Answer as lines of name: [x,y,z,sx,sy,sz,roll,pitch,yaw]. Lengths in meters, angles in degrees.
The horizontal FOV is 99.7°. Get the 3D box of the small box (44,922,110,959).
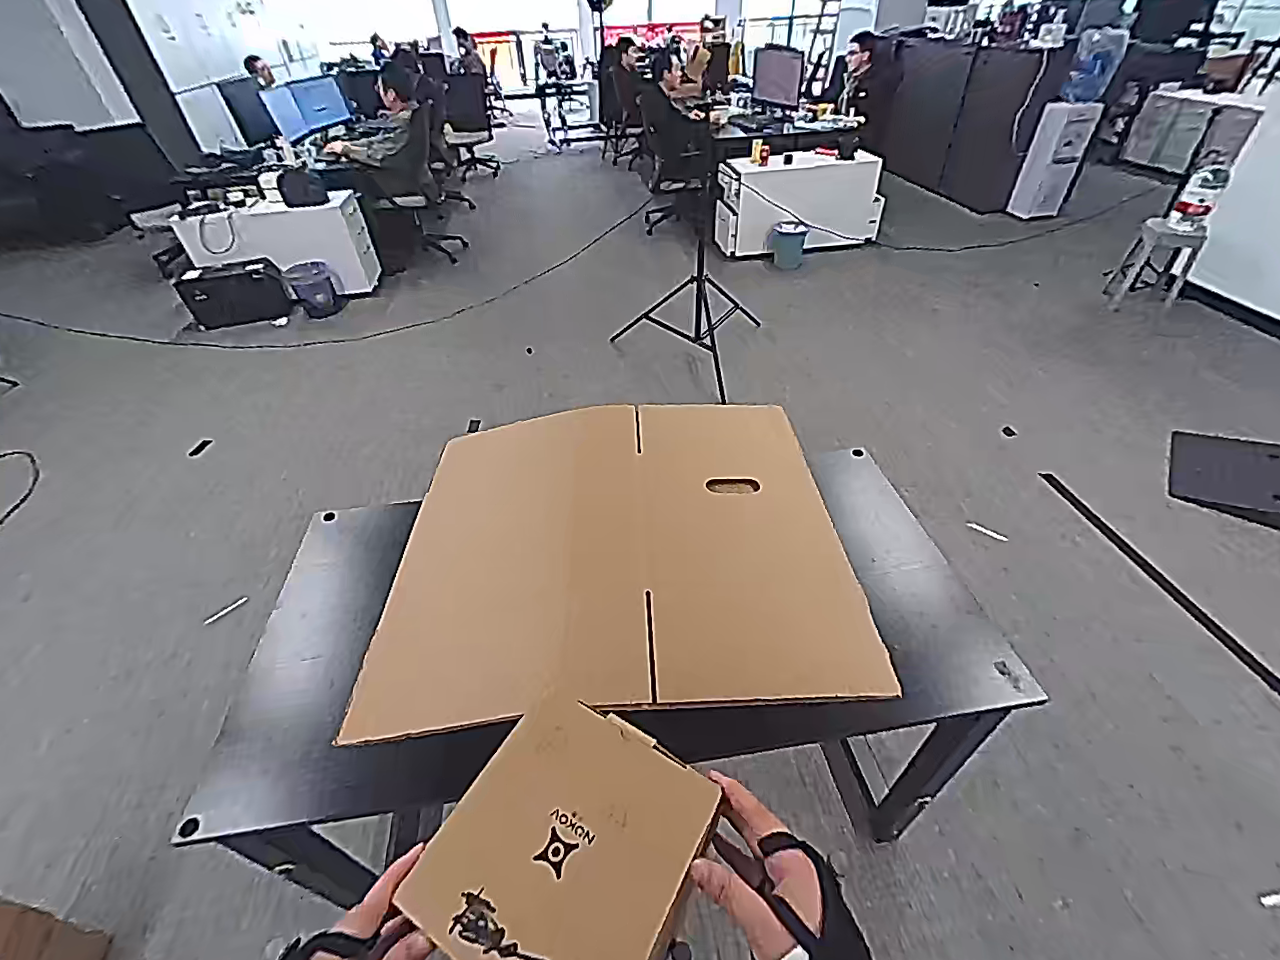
small box: [-1.231,1.029,1.081,0.168,0.176,0.179,-10,42,-7]

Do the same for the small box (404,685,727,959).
small box: [-0.045,0.312,0.434,0.168,0.176,0.179,20,47,25]

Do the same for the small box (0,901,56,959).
small box: [-1.241,0.903,0.978,0.168,0.176,0.179,-11,41,-10]
